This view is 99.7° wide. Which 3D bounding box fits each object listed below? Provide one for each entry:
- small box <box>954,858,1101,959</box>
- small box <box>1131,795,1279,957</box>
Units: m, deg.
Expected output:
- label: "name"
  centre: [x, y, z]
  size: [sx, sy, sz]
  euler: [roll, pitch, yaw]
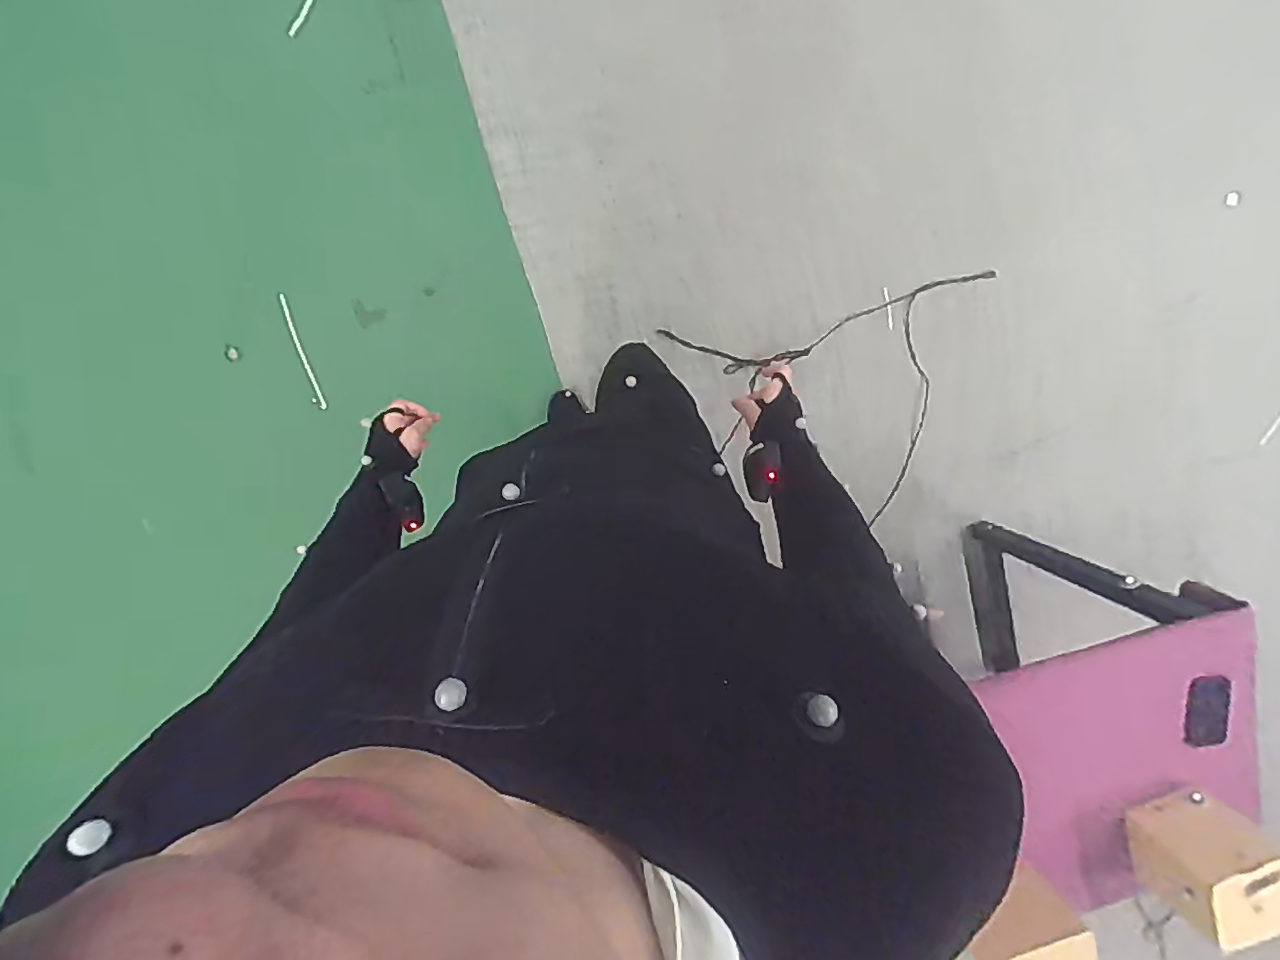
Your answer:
- label: "small box"
  centre: [0.748, 0.893, 1.050]
  size: [0.168, 0.176, 0.179]
  euler: [-18, 101, -2]
- label: "small box"
  centre: [1.110, 0.752, 1.051]
  size: [0.168, 0.176, 0.179]
  euler: [-21, 103, 0]
